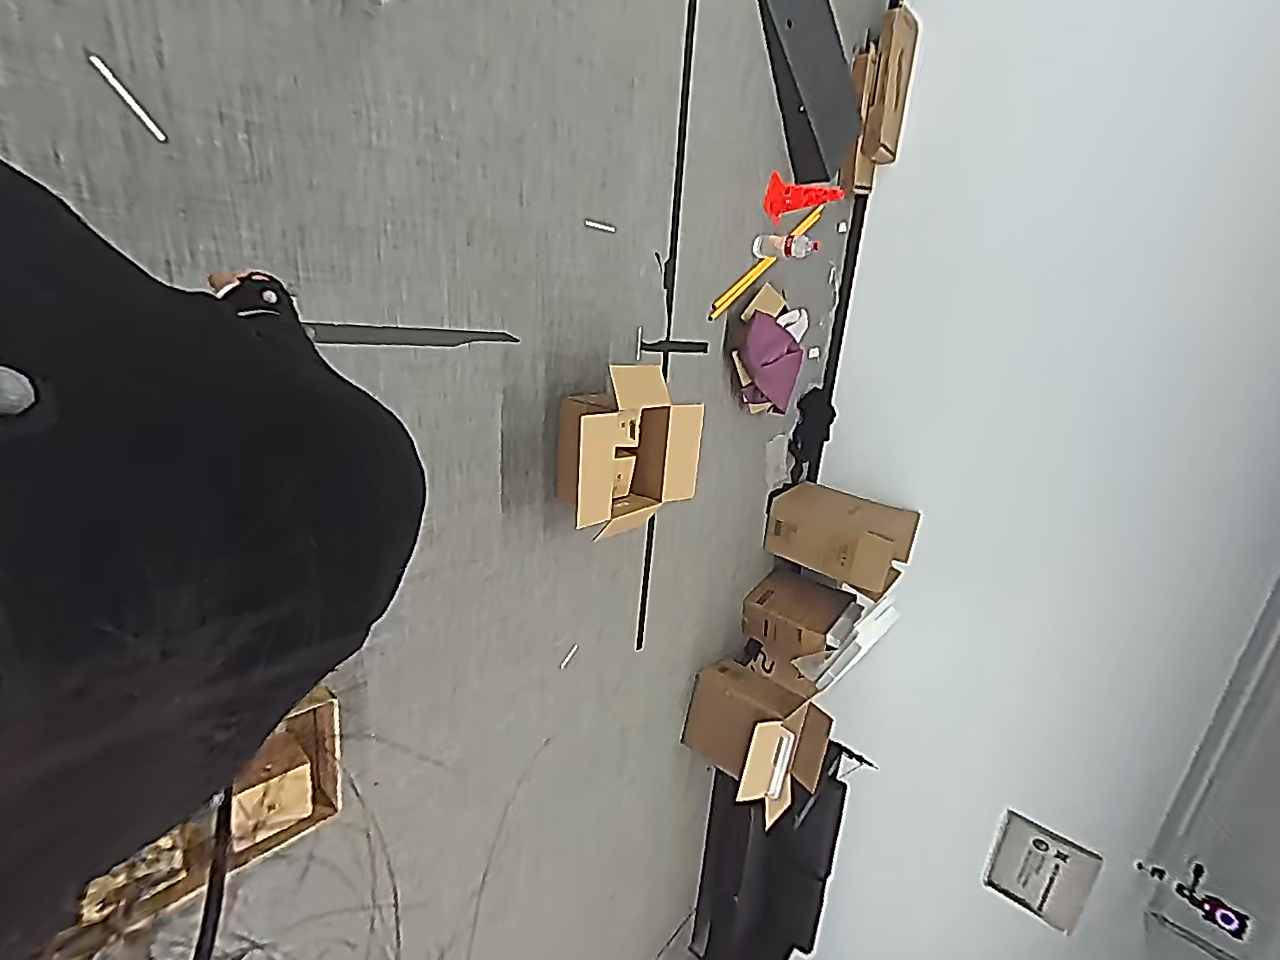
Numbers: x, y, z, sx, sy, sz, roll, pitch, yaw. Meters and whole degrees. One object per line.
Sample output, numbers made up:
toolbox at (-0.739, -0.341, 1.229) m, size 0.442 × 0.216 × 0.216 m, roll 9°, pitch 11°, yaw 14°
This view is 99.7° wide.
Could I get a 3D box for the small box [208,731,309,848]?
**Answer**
small box at (-0.995, 0.795, 1.412) m, size 0.179 × 0.176 × 0.168 m, roll -9°, pitch 109°, yaw -49°
